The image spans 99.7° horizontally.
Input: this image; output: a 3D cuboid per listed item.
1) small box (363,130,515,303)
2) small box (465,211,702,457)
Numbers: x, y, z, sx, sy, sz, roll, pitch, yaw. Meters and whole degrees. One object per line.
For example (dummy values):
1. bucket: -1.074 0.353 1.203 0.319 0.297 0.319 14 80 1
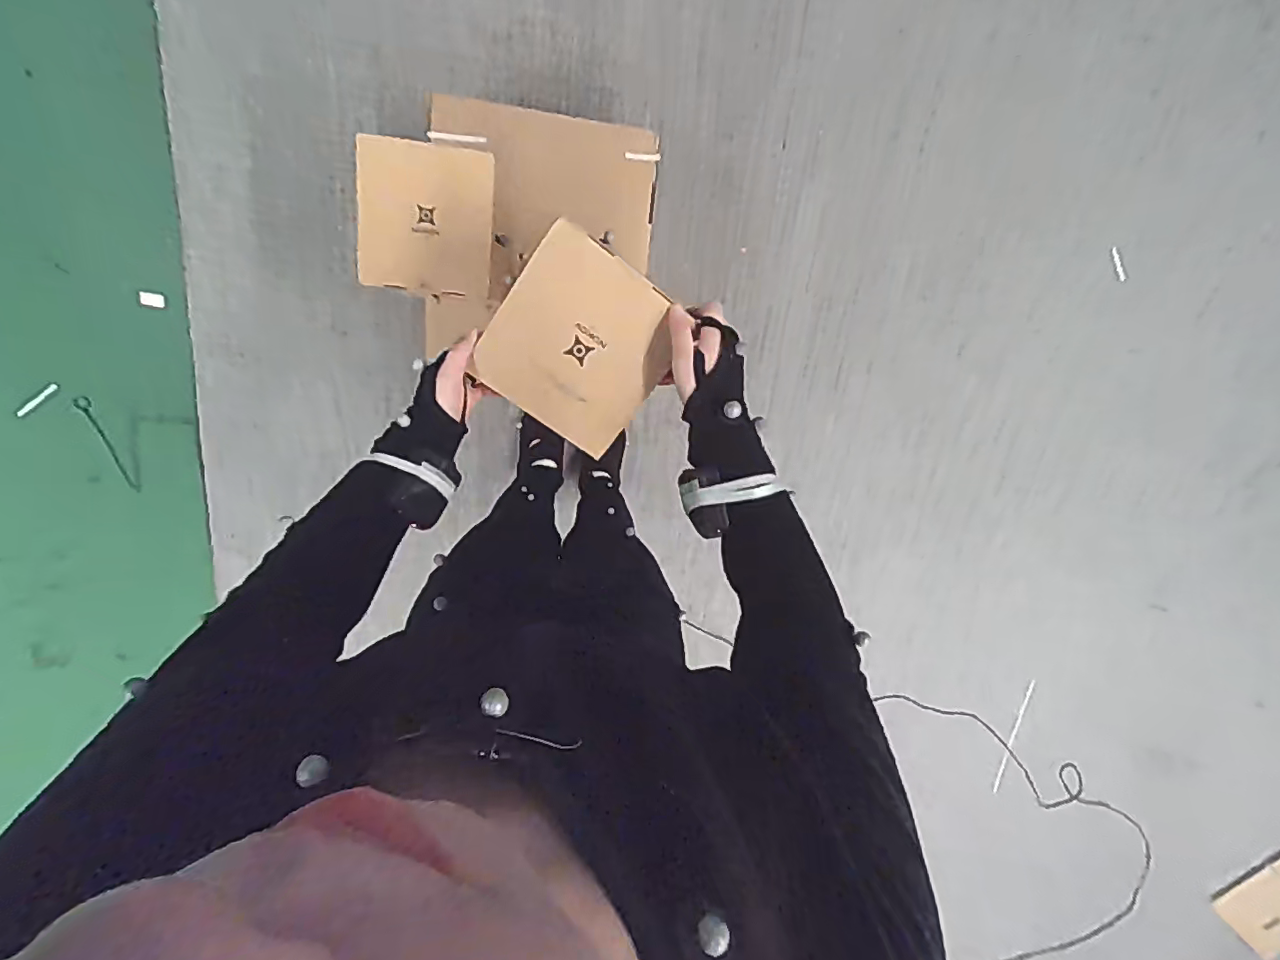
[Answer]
1. small box: -0.272 -0.353 0.761 0.168 0.176 0.179 6 105 -7
2. small box: -0.059 -0.162 0.592 0.168 0.176 0.179 36 108 -16
